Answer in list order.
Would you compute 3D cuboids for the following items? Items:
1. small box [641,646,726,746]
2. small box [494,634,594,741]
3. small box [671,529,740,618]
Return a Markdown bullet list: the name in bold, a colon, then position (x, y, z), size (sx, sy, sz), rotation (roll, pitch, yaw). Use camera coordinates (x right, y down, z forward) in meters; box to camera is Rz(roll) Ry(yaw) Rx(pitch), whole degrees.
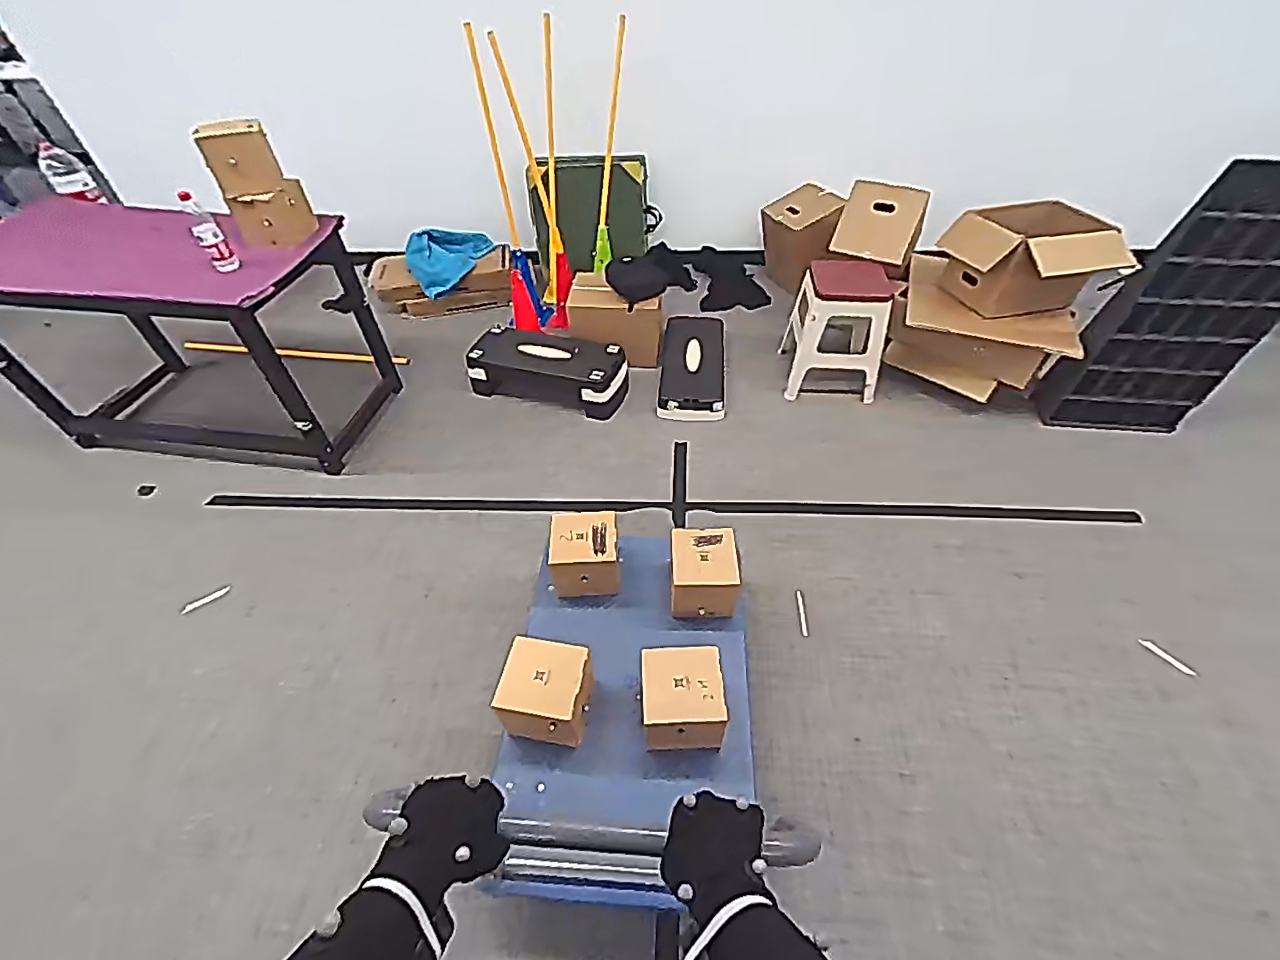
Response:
- **small box**: position (0.093, 0.493, 1.225), size (0.179, 0.176, 0.168), rotation (-1, 47, 0)
- **small box**: position (-0.211, 0.480, 1.244), size (0.179, 0.176, 0.168), rotation (8, 48, 7)
- **small box**: position (0.170, 0.249, 1.449), size (0.168, 0.176, 0.179), rotation (0, 48, 1)
